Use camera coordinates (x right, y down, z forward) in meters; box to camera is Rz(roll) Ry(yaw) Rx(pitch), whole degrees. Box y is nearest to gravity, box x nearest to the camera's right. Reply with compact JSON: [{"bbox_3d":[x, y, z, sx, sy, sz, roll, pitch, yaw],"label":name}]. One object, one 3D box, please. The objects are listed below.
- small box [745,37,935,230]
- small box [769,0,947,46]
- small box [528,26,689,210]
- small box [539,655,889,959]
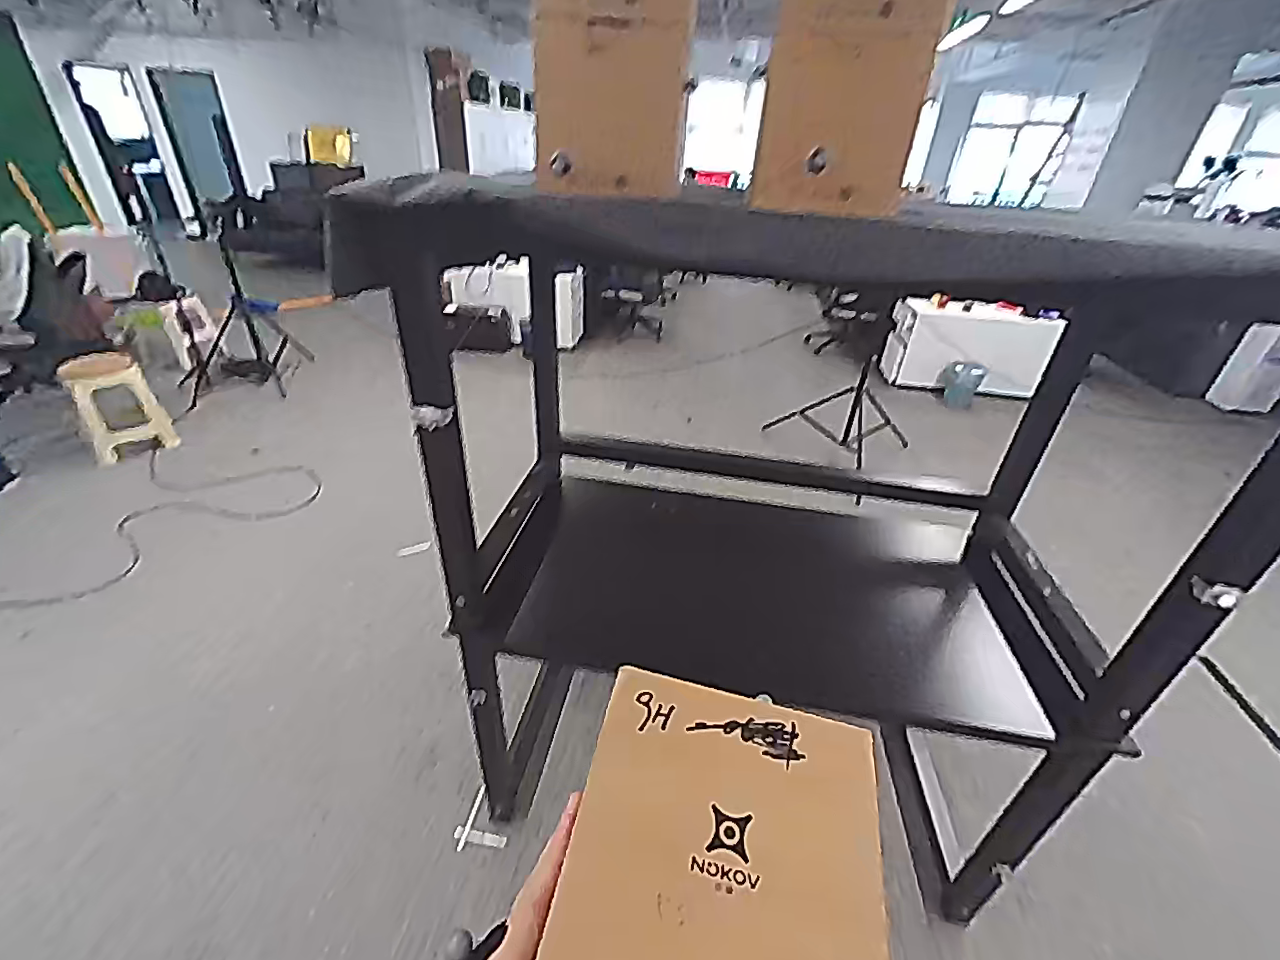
[{"bbox_3d":[0.221,-0.407,0.655,0.168,0.176,0.179,7,30,6],"label":"small box"},{"bbox_3d":[0.234,-0.552,0.576,0.168,0.176,0.179,8,30,7],"label":"small box"},{"bbox_3d":[-0.032,-0.437,0.675,0.168,0.176,0.179,7,29,4],"label":"small box"},{"bbox_3d":[0.044,0.248,0.349,0.168,0.176,0.179,13,47,7],"label":"small box"}]
